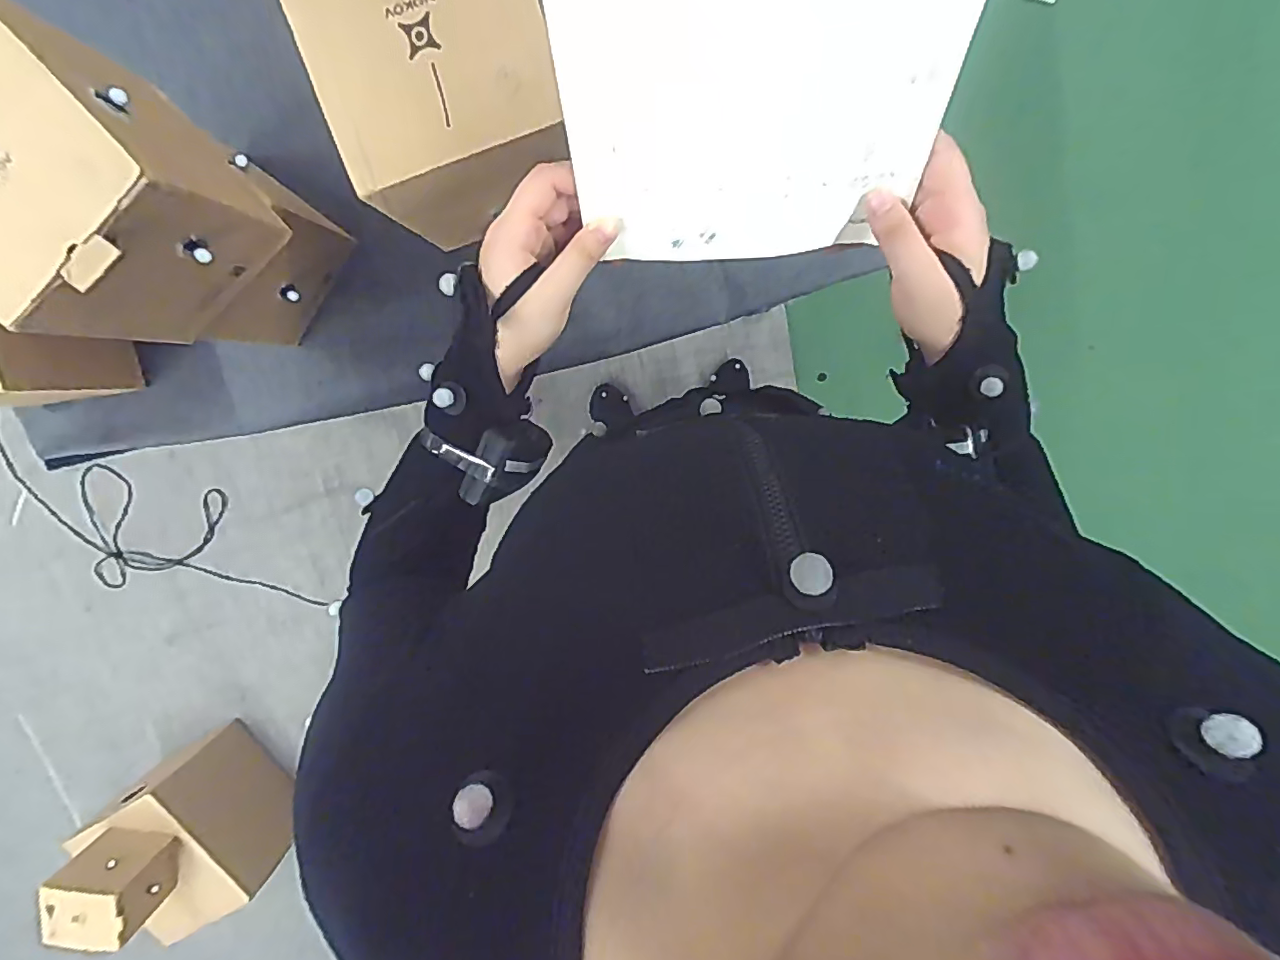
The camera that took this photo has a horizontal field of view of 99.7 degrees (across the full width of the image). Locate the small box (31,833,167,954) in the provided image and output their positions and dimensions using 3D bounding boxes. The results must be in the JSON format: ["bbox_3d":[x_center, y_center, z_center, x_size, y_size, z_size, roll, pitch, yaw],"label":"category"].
[{"bbox_3d":[-1.304,0.999,1.318,0.179,0.176,0.168,8,101,-3],"label":"small box"}]

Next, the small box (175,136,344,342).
[{"bbox_3d":[-0.484,-0.274,0.614,0.179,0.176,0.168,36,99,-6],"label":"small box"}]

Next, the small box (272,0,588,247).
[{"bbox_3d":[-0.150,-0.314,0.434,0.168,0.176,0.179,-17,101,5],"label":"small box"}]

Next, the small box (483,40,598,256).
[{"bbox_3d":[-0.152,-0.361,0.592,0.179,0.176,0.168,16,101,-2],"label":"small box"}]

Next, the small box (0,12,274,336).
[{"bbox_3d":[-0.467,-0.238,0.455,0.168,0.176,0.179,-41,97,7],"label":"small box"}]
